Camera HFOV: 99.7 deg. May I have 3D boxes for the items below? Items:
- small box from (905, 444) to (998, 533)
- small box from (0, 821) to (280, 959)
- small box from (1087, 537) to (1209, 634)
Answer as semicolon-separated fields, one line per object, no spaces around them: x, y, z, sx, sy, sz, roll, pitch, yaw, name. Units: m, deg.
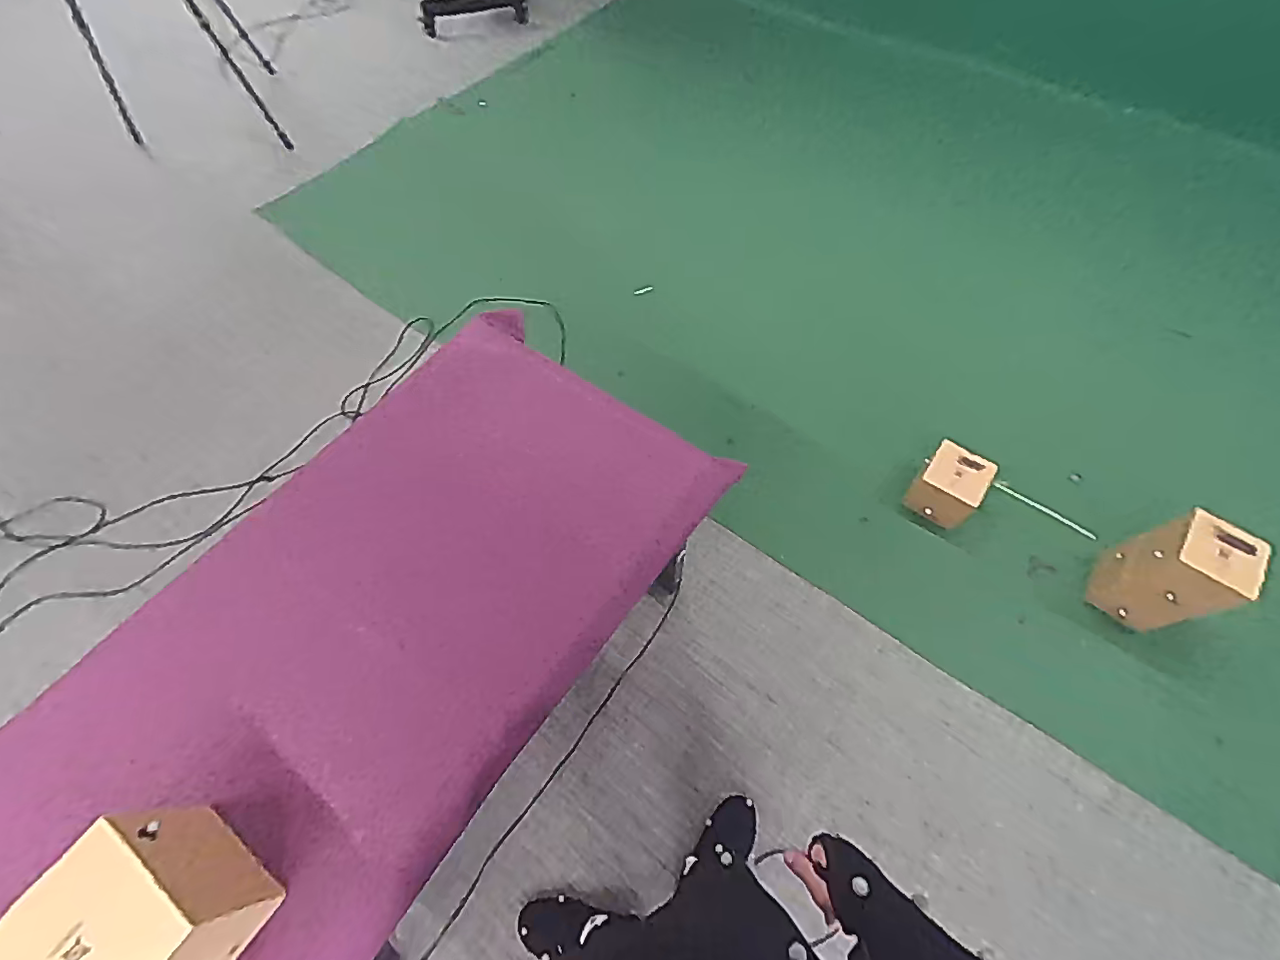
0.948;0.029;1.662;0.168;0.176;0.179;32;68;18;small box
-0.563;0.516;0.610;0.179;0.176;0.168;30;66;17;small box
1.399;0.297;1.500;0.168;0.176;0.179;35;68;19;small box
